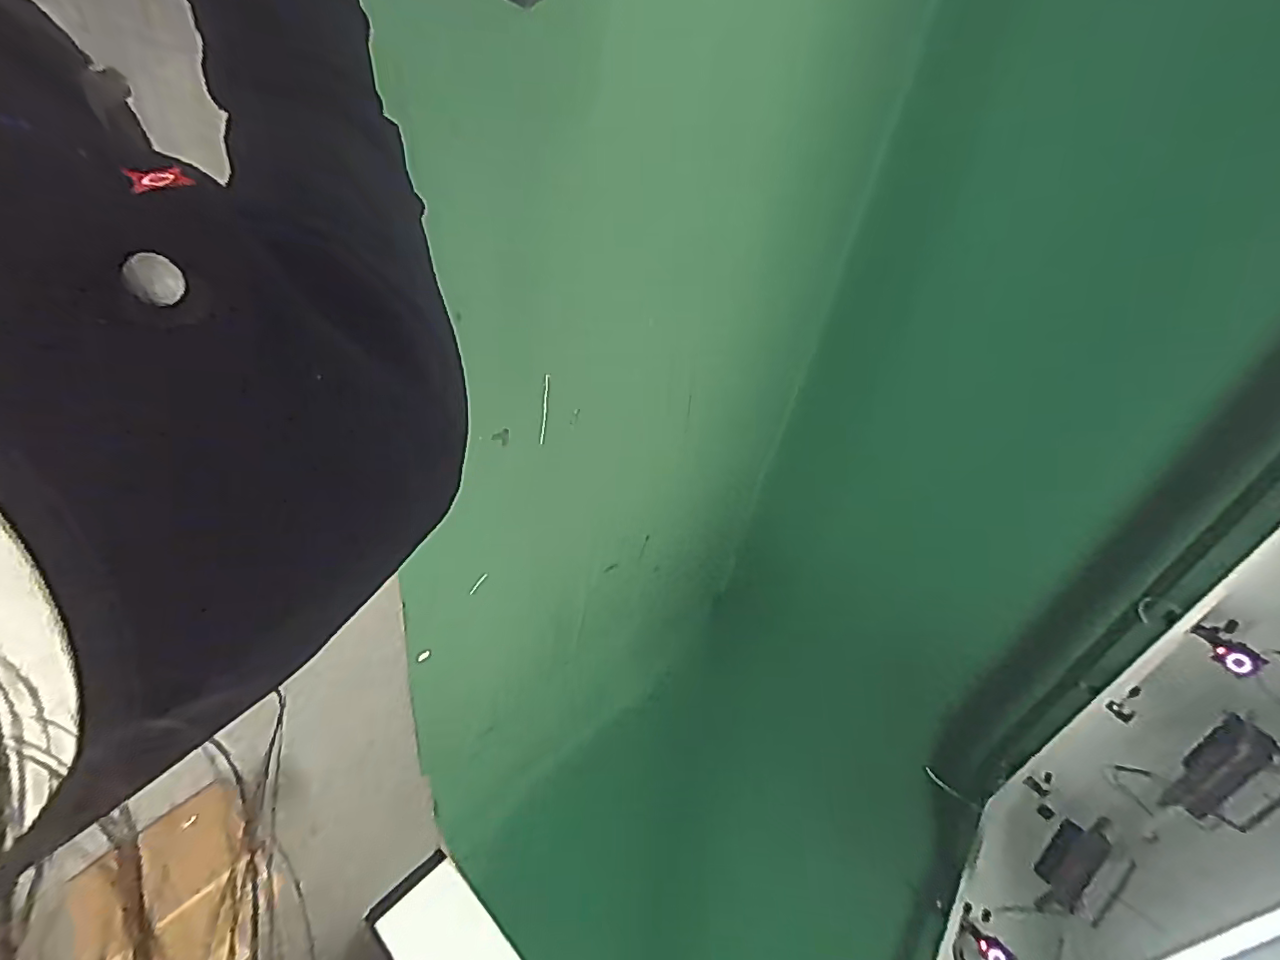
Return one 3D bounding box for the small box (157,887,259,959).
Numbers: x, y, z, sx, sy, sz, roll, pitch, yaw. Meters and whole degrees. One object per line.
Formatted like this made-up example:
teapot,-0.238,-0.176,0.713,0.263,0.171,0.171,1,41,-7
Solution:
small box,-1.252,1.344,1.564,0.179,0.176,0.168,-30,140,-42
